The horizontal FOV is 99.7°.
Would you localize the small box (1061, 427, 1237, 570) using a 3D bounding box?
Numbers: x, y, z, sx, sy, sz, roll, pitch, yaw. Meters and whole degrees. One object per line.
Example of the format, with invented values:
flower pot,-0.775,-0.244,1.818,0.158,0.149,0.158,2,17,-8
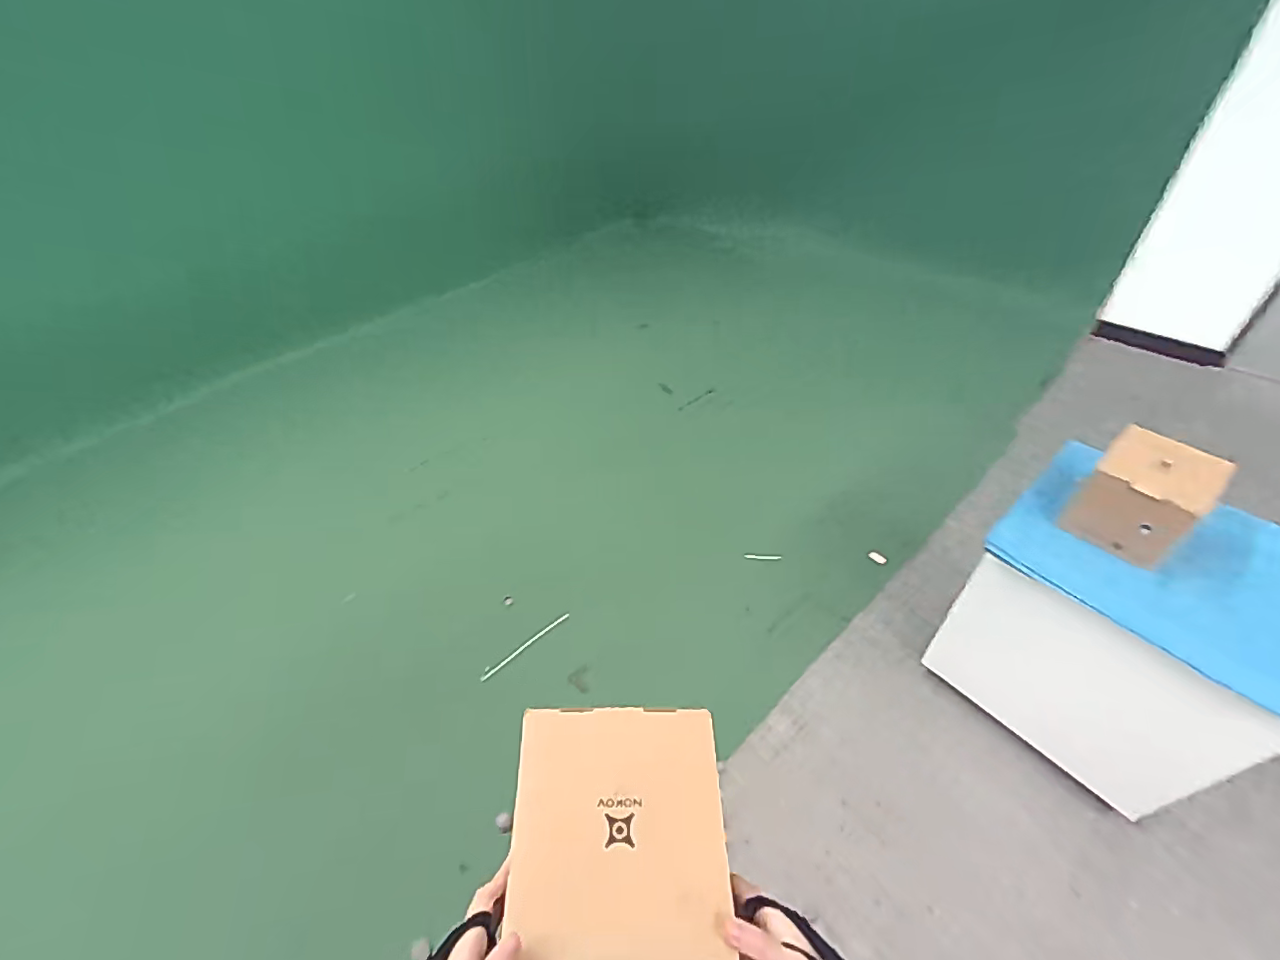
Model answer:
small box,0.949,0.037,1.026,0.179,0.176,0.168,-32,51,-25
